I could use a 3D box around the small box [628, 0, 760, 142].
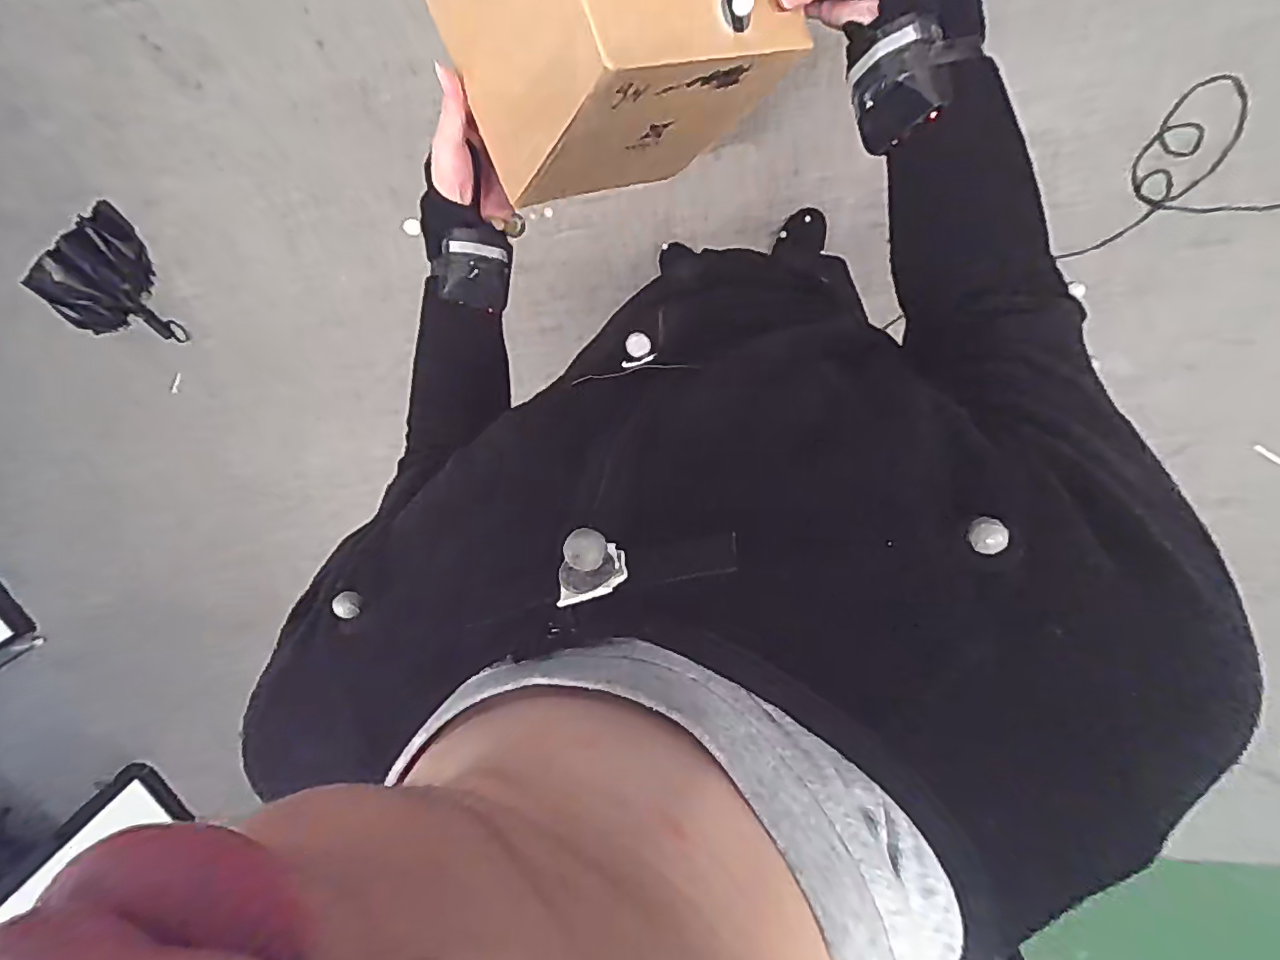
[{"bbox_3d":[0.102,-0.772,1.012,0.168,0.176,0.179,40,118,-12],"label":"small box"}]
